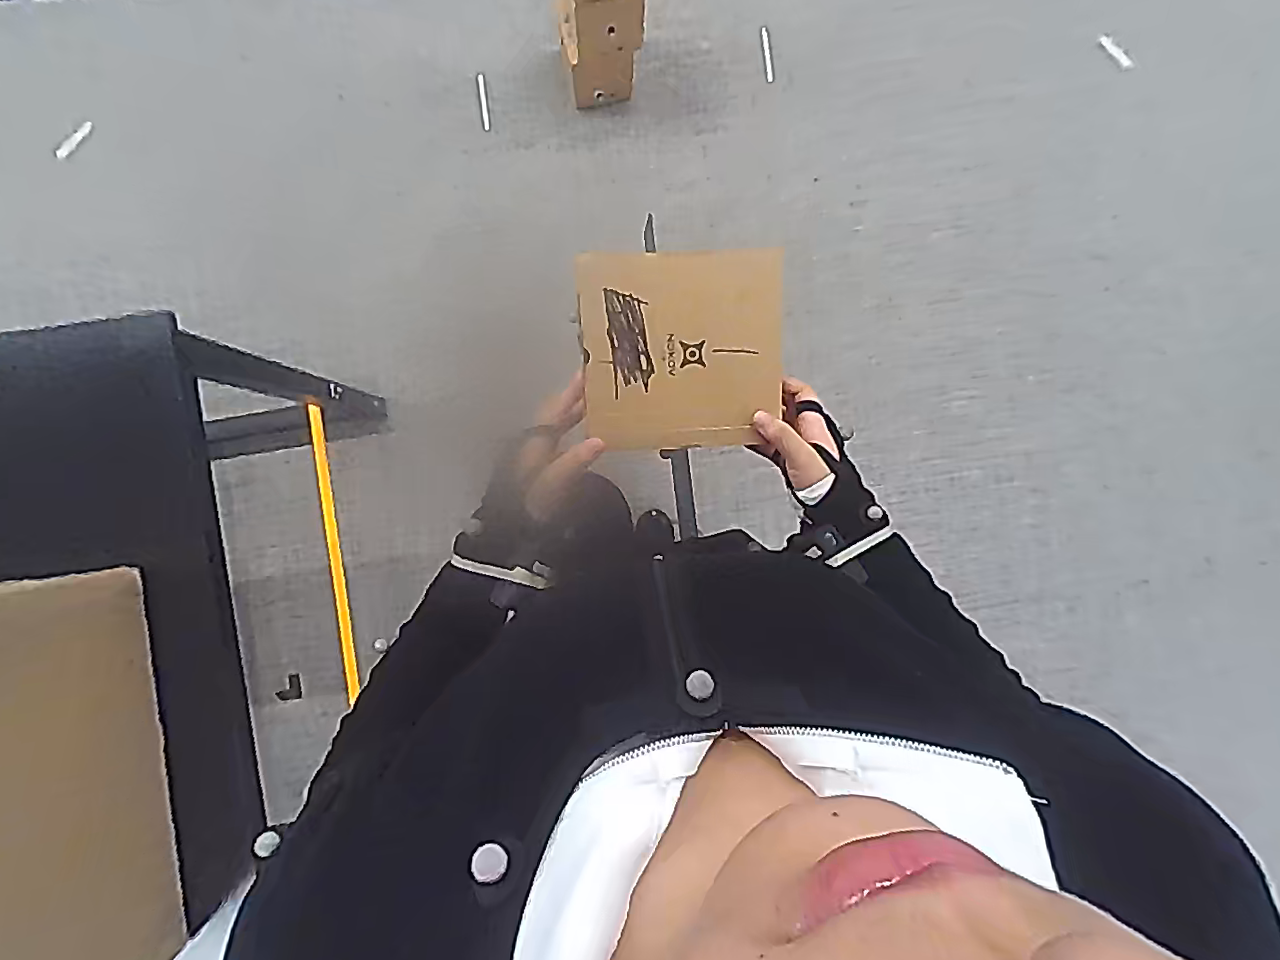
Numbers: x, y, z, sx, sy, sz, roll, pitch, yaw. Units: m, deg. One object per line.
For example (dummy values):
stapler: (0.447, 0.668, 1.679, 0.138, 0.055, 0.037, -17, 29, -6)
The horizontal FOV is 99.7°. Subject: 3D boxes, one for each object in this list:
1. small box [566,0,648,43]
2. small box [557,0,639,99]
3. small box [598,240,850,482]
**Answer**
small box: (-0.080, -1.092, 1.164, 0.168, 0.176, 0.179, -16, 91, -2)
small box: (-0.105, -1.091, 1.327, 0.168, 0.176, 0.179, -15, 92, -2)
small box: (0.056, -0.094, 0.459, 0.179, 0.176, 0.168, -4, 100, -5)
